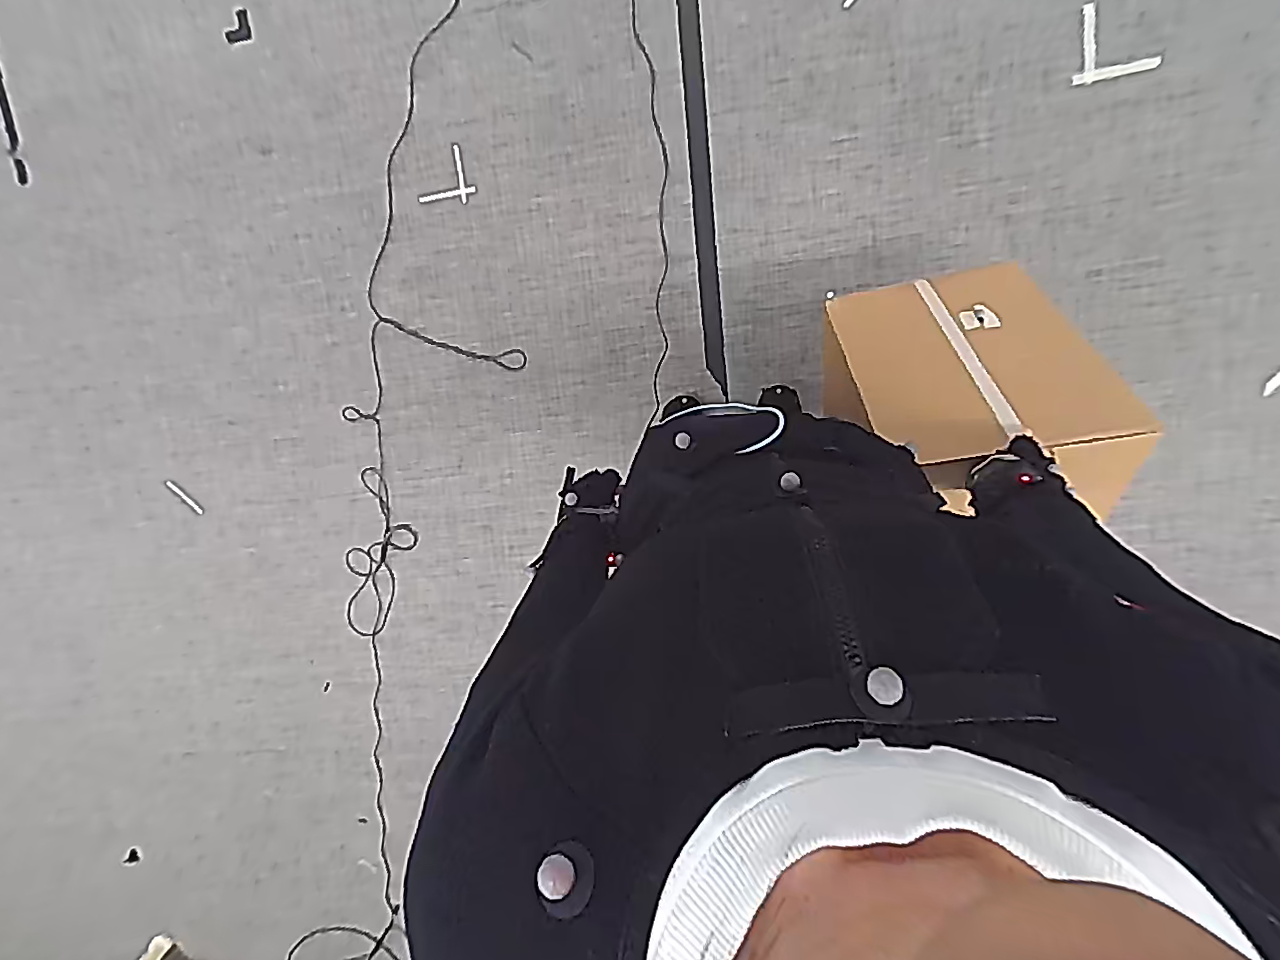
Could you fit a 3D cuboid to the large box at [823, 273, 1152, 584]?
[{"bbox_3d":[0.515,-0.085,0.923,0.320,0.408,0.320,-8,138,9],"label":"large box"}]
